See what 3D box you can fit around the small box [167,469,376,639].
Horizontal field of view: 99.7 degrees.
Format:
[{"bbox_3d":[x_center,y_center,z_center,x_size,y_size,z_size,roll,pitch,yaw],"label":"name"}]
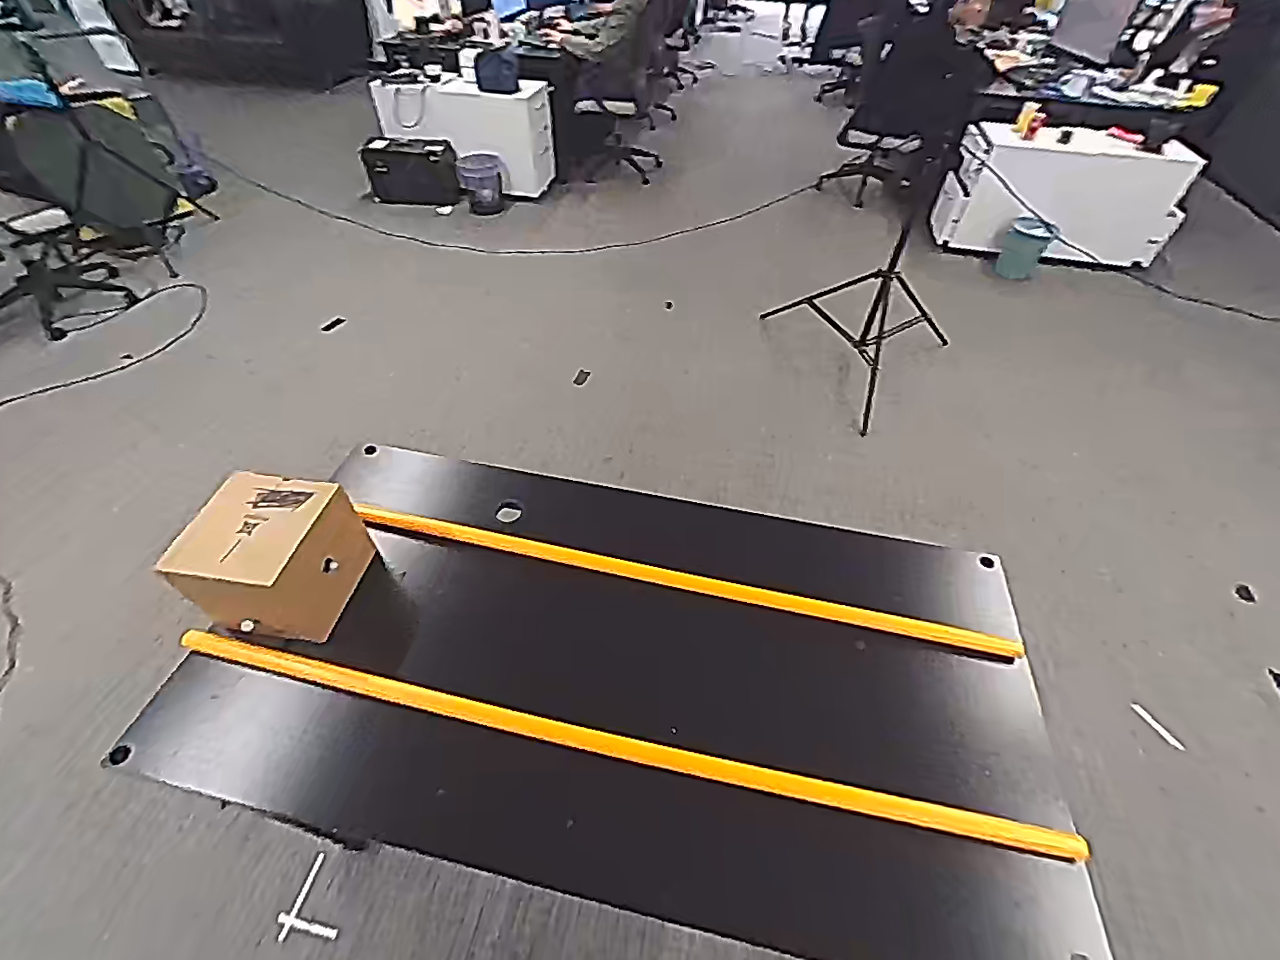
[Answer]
[{"bbox_3d":[-0.523,0.111,0.807,0.168,0.176,0.179,7,49,4],"label":"small box"}]
